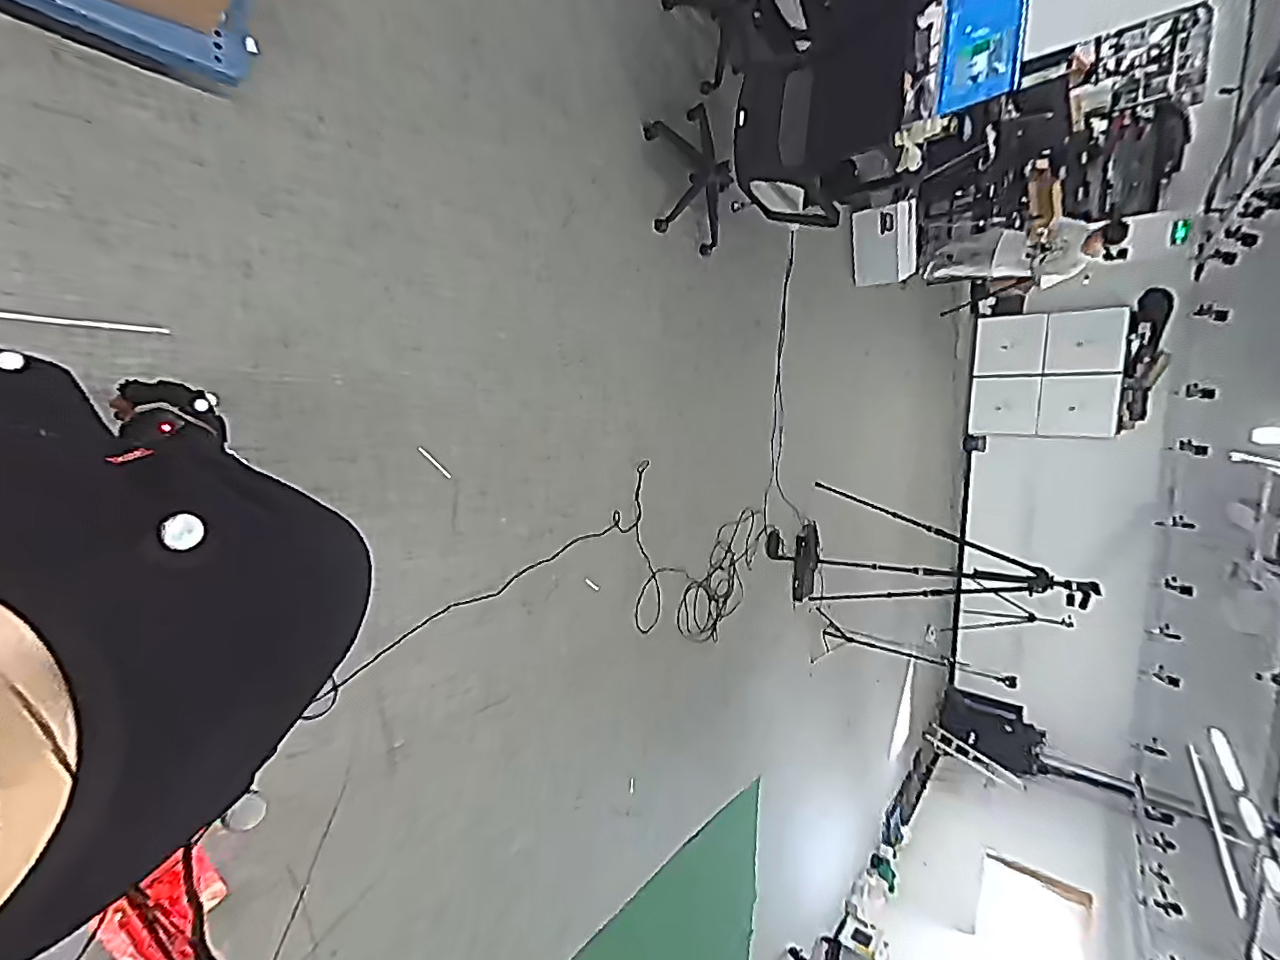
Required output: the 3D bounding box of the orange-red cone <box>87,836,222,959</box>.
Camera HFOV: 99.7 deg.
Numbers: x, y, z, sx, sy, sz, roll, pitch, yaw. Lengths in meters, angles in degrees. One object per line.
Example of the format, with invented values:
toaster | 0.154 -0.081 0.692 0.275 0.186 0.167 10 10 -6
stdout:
orange-red cone | -0.973 0.972 1.132 0.198 0.360 0.199 -31 120 -43
